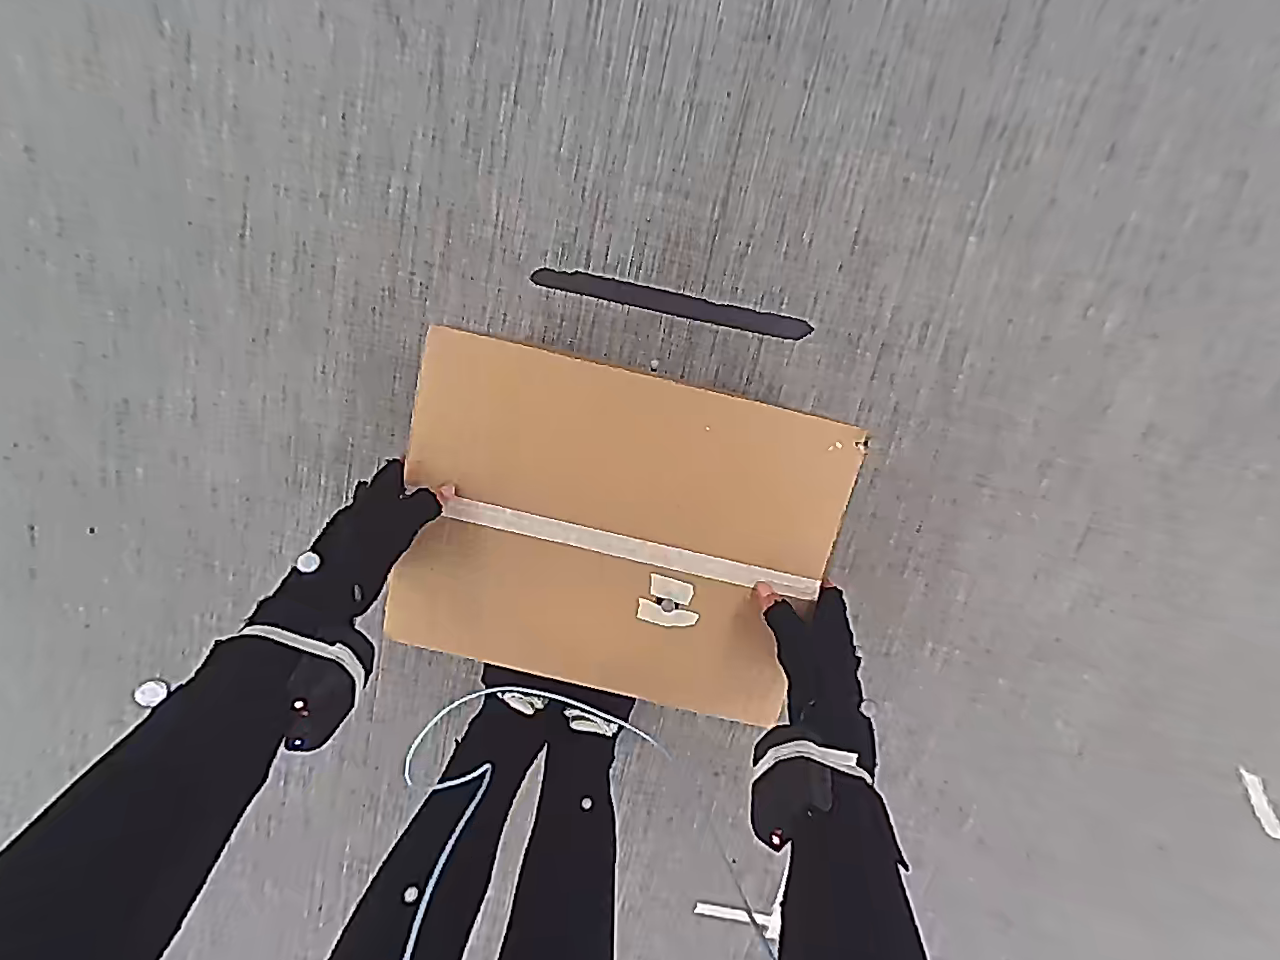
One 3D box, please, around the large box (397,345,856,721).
[{"bbox_3d":[-0.022,0.034,0.670,0.408,0.320,0.320,13,102,-1],"label":"large box"}]
